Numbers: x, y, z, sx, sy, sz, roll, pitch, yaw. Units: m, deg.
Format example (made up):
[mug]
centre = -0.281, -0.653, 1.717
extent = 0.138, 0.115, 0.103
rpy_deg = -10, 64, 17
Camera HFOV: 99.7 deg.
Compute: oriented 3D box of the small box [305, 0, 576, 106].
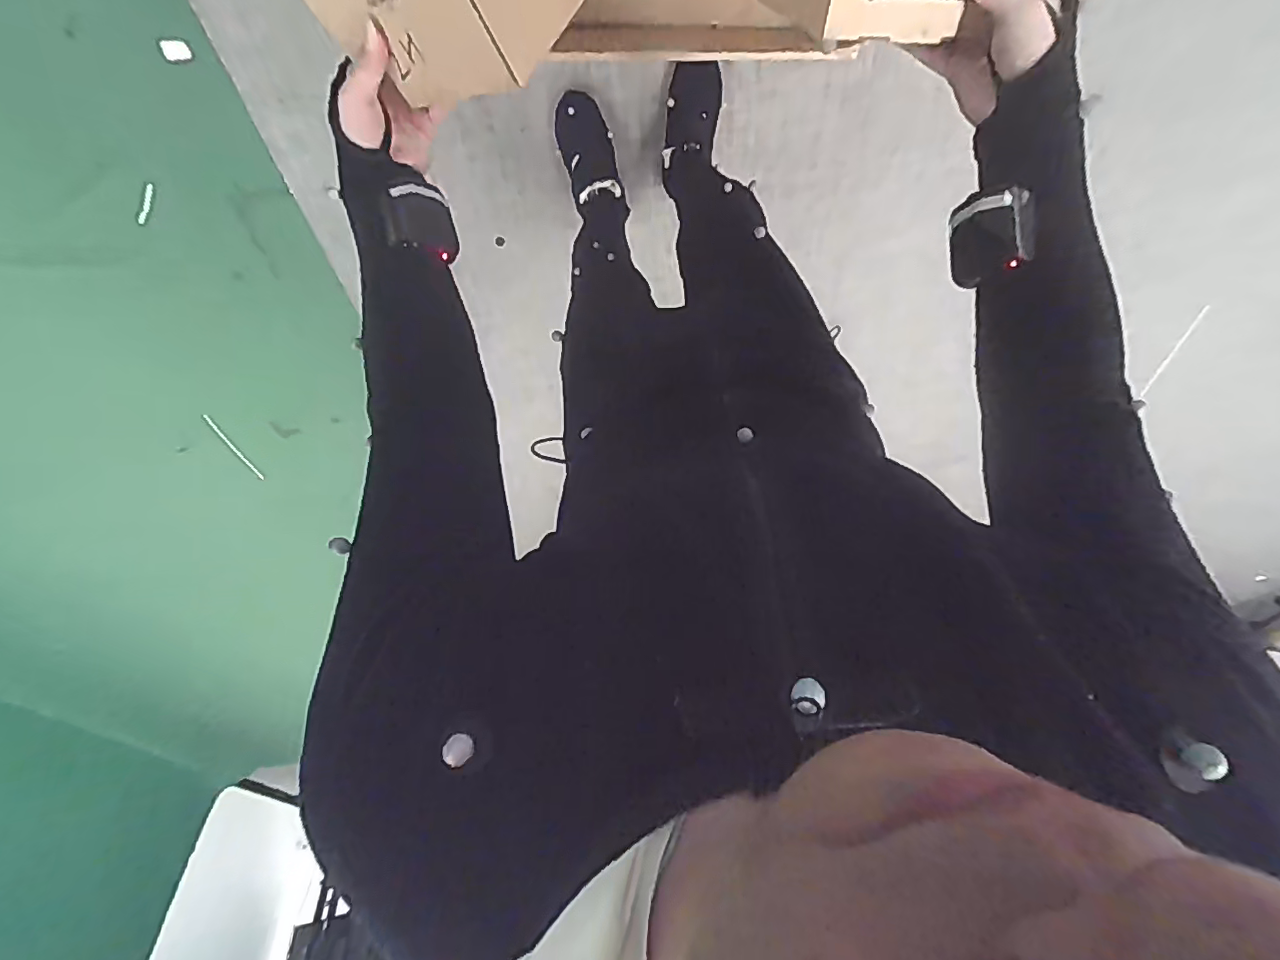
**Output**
[small box]
centre = -0.155, -0.421, 0.393
extent = 0.168, 0.176, 0.179
rpy_deg = 17, 163, 30
